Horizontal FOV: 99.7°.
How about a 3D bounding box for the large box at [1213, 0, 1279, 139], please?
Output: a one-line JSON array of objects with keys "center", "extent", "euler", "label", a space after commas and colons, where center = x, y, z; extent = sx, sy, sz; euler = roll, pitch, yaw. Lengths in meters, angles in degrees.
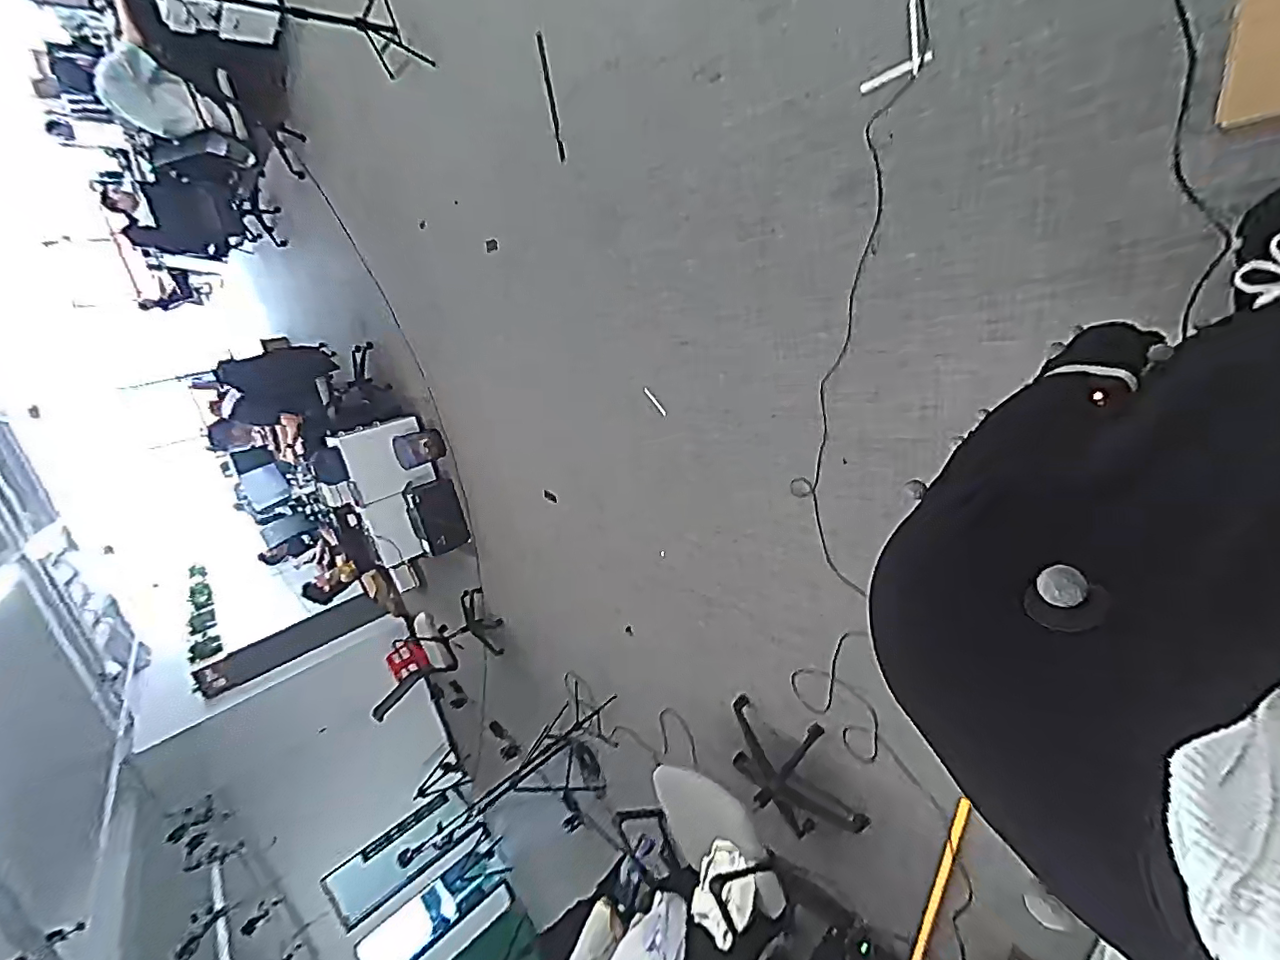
[{"center": [0.943, -0.611, 0.586], "extent": [0.408, 0.320, 0.320], "euler": [12, 120, 47], "label": "large box"}]
